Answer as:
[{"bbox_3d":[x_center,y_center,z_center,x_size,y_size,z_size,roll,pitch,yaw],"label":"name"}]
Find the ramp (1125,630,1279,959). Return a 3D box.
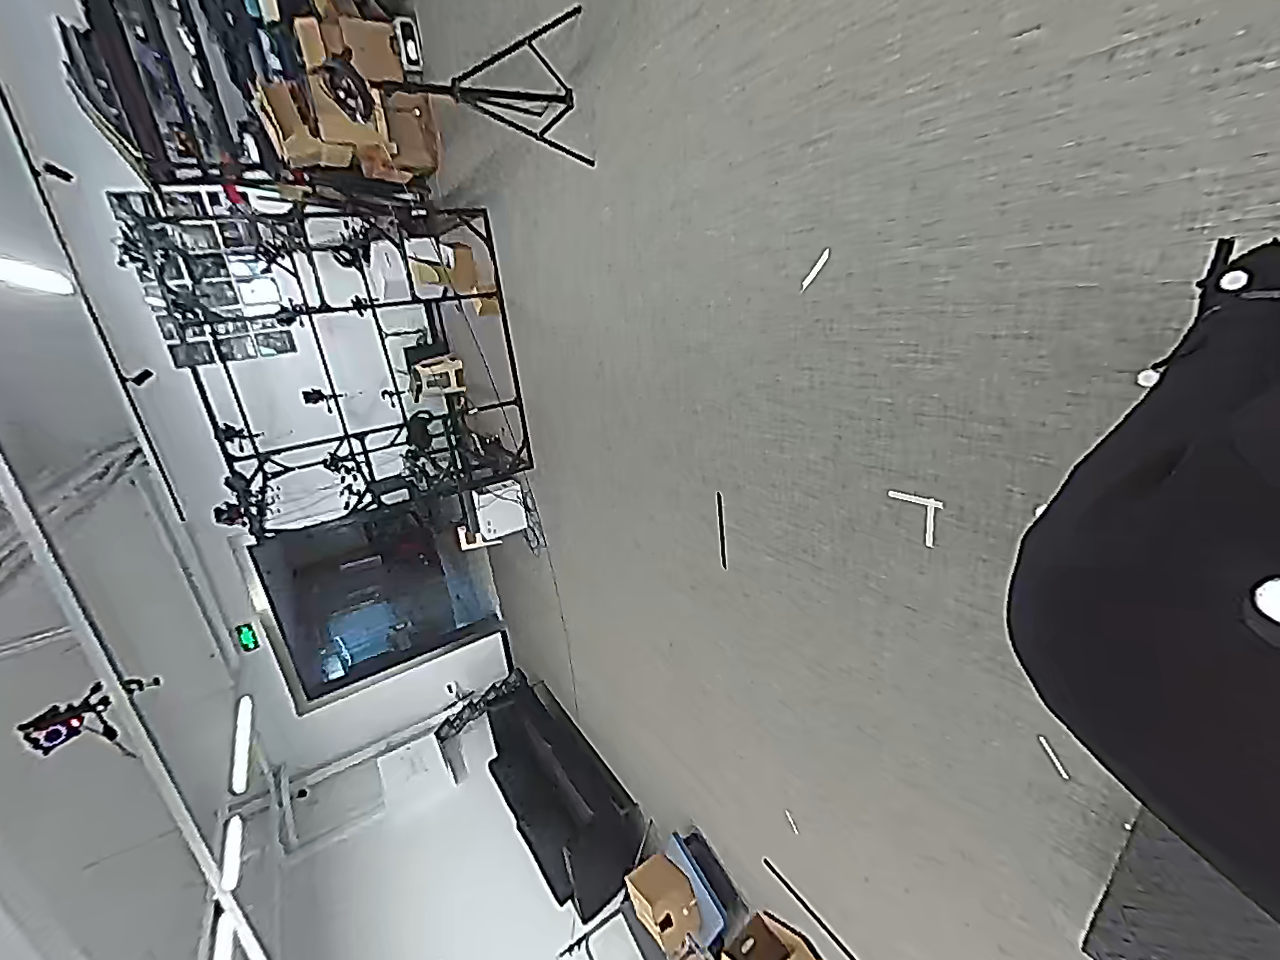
[{"bbox_3d":[1.333,0.829,1.009,0.509,0.206,0.991,25,125,56],"label":"ramp"}]
